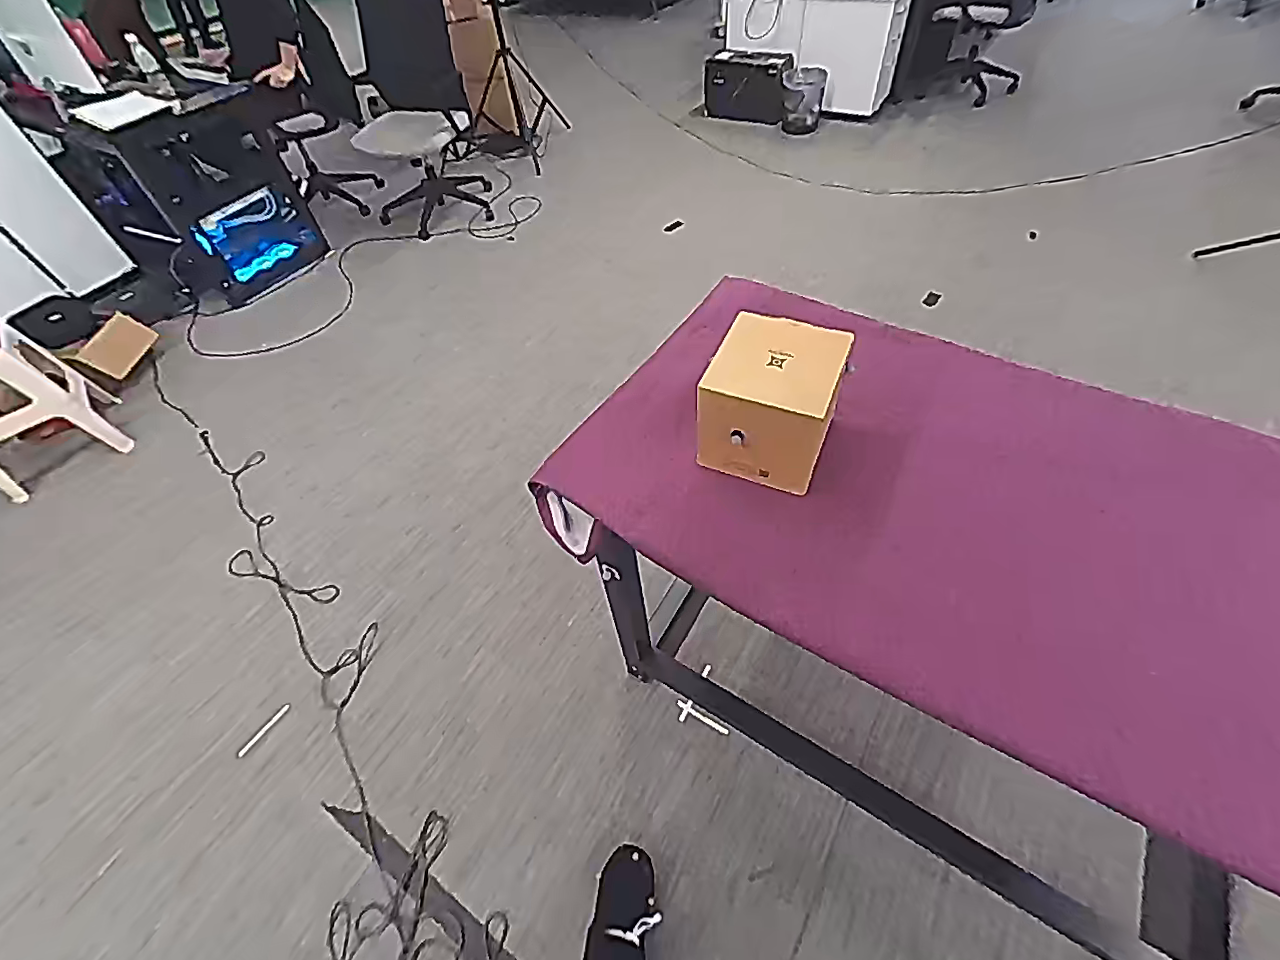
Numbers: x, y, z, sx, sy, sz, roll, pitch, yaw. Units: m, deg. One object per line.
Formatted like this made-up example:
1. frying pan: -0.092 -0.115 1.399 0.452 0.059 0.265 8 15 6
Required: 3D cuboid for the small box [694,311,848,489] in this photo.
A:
1. small box: 0.187 -0.114 0.789 0.168 0.176 0.179 17 56 19
